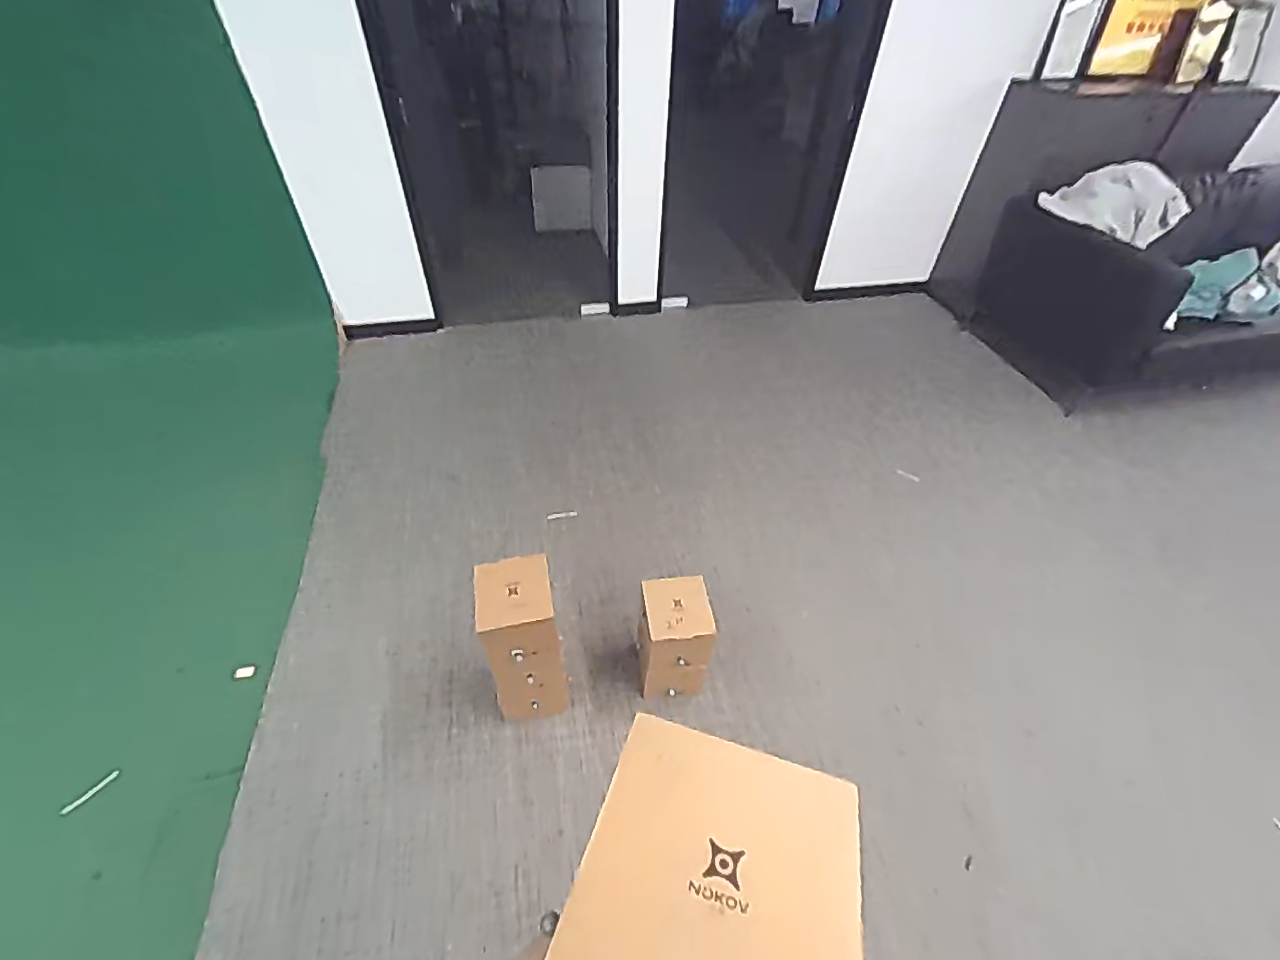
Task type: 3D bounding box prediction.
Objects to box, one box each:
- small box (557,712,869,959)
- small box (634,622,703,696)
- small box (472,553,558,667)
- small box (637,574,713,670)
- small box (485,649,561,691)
[{"bbox_3d":[0.046,0.307,0.372,0.168,0.176,0.179,14,32,11],"label":"small box"},{"bbox_3d":[0.075,0.490,1.533,0.168,0.176,0.179,-3,46,-6],"label":"small box"},{"bbox_3d":[-0.285,0.298,1.240,0.168,0.176,0.179,-10,47,-11],"label":"small box"},{"bbox_3d":[0.084,0.372,1.418,0.168,0.176,0.179,-5,46,-7],"label":"small box"},{"bbox_3d":[-0.296,0.410,1.358,0.168,0.176,0.179,-9,47,-12],"label":"small box"}]
